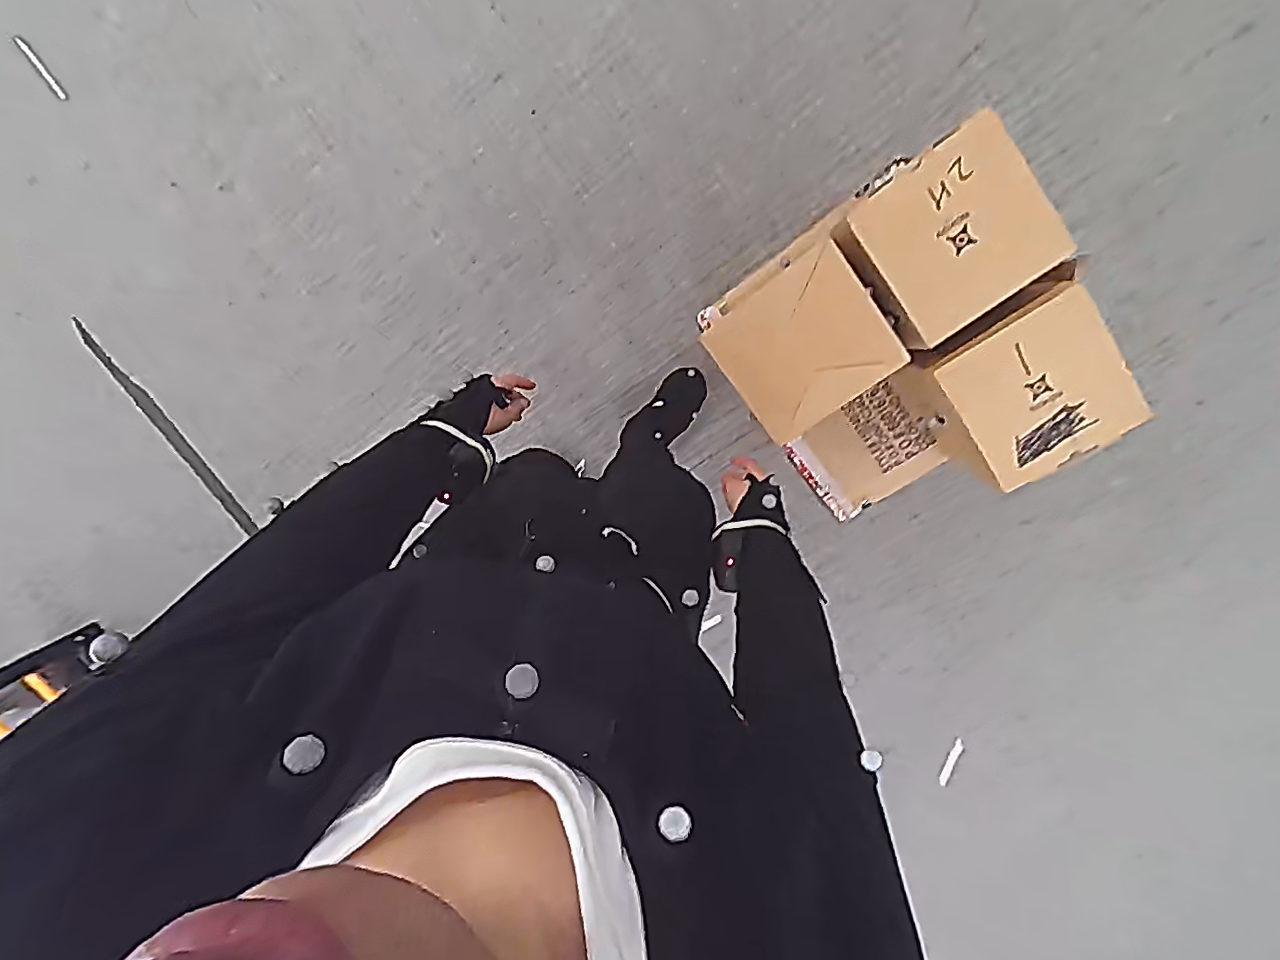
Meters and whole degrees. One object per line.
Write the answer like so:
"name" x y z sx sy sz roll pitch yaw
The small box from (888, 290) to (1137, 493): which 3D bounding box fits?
"small box" 0.448 -0.117 0.680 0.168 0.176 0.179 -33 100 16
